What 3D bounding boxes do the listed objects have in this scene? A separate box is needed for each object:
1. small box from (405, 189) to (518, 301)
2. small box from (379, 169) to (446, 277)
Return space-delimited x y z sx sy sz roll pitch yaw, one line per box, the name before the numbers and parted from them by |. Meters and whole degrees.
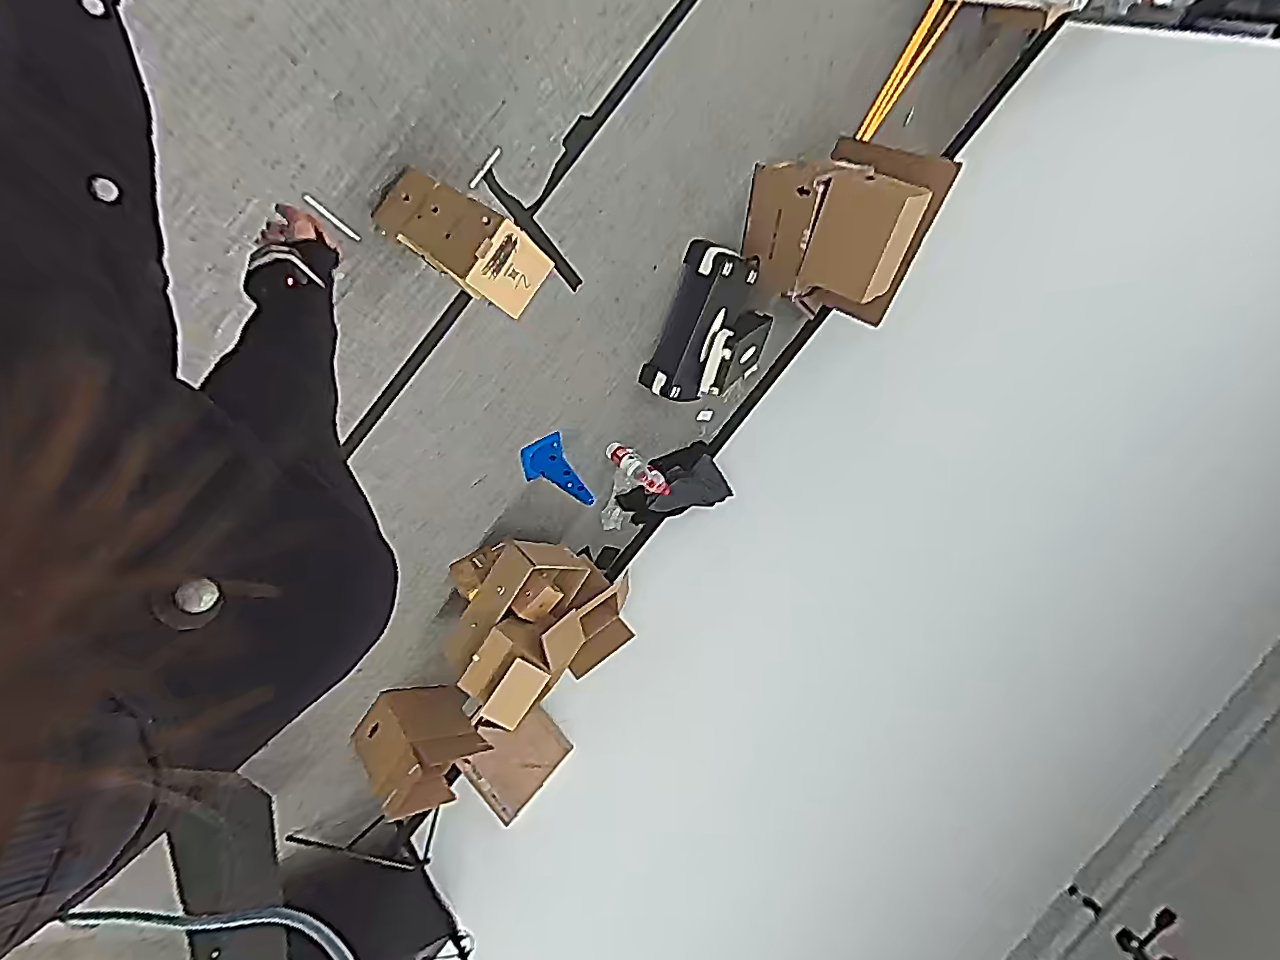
small box | -0.453 -0.597 1.371 0.168 0.176 0.179 -49 147 0
small box | -0.565 -0.688 1.447 0.179 0.176 0.168 -52 148 3
